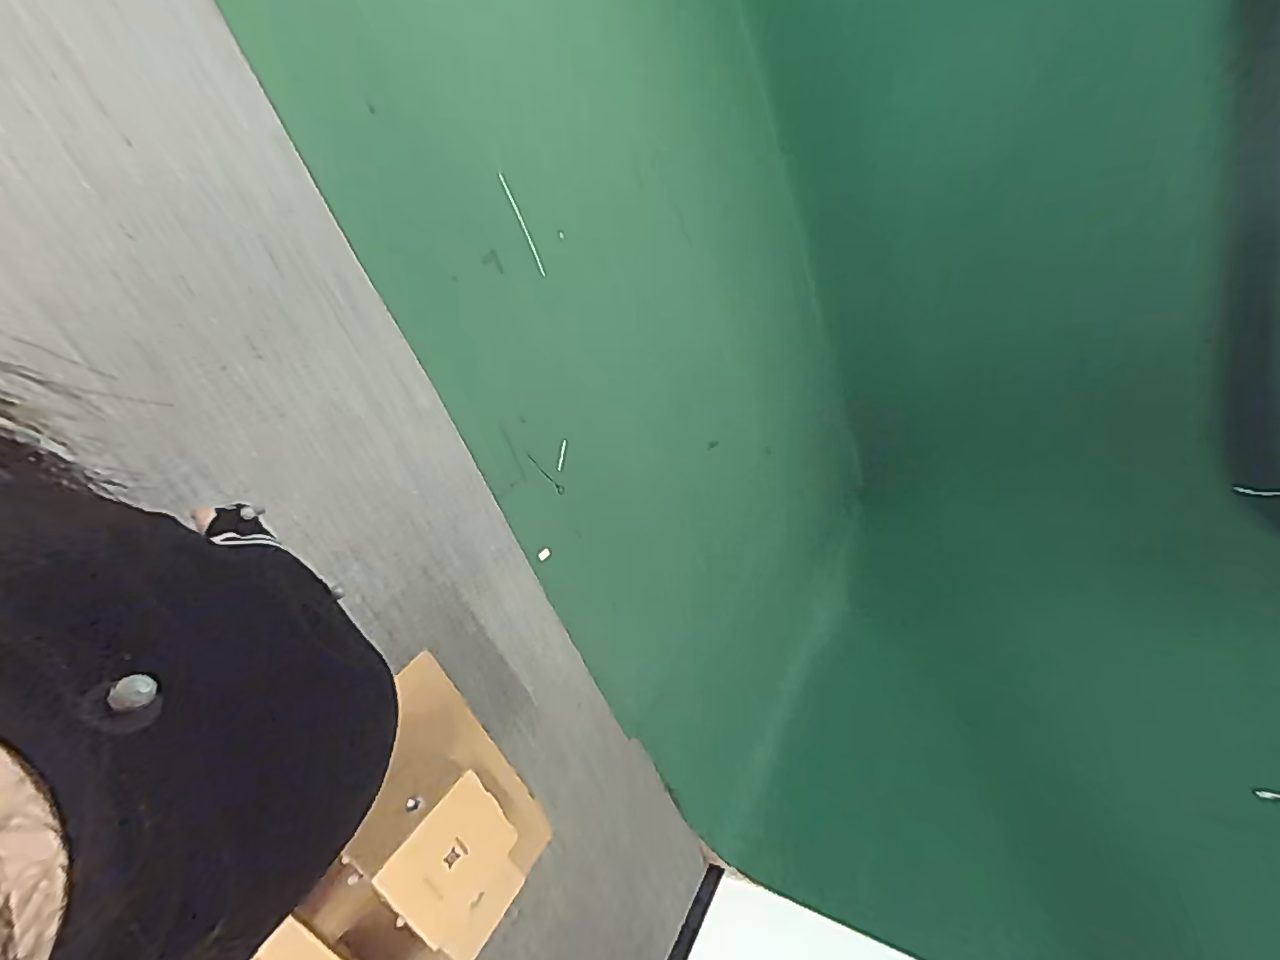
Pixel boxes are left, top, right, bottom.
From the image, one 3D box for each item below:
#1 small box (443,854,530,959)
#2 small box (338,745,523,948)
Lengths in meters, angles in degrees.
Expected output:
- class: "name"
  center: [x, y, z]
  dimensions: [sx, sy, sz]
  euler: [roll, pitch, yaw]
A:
- class: "small box"
  center: [-0.352, 0.762, 1.032]
  dimensions: [0.168, 0.176, 0.179]
  euler: [-47, 121, -42]
- class: "small box"
  center: [-0.324, 0.548, 0.839]
  dimensions: [0.179, 0.176, 0.168]
  euler: [-42, 115, -42]
